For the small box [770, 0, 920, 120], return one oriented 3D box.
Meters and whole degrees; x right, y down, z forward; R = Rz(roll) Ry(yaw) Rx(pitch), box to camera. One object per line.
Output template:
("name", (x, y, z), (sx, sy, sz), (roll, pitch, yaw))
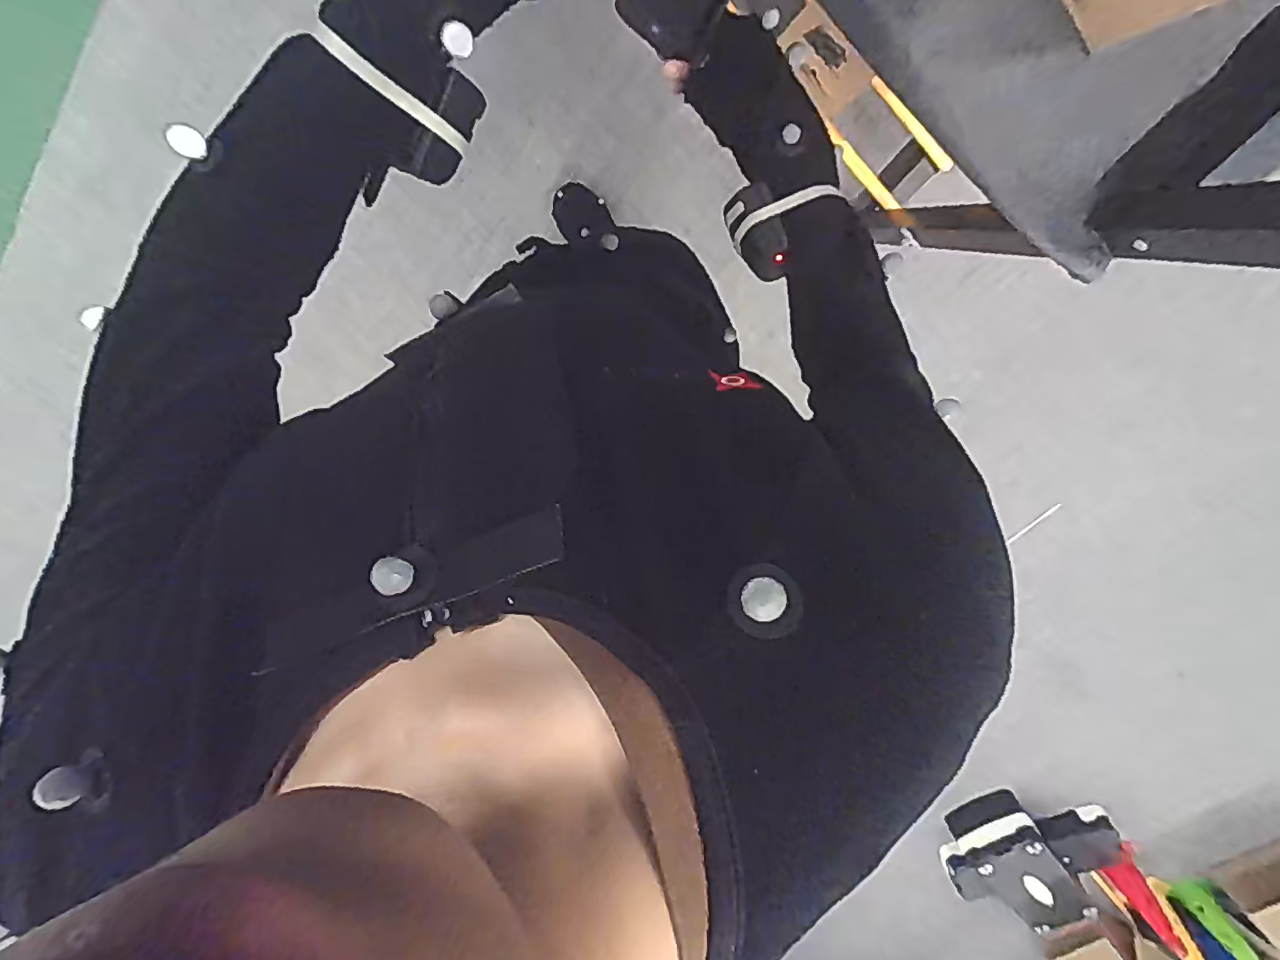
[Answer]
("small box", (0.356, -0.799, 0.982), (0.168, 0.176, 0.179), (41, 108, -18))
